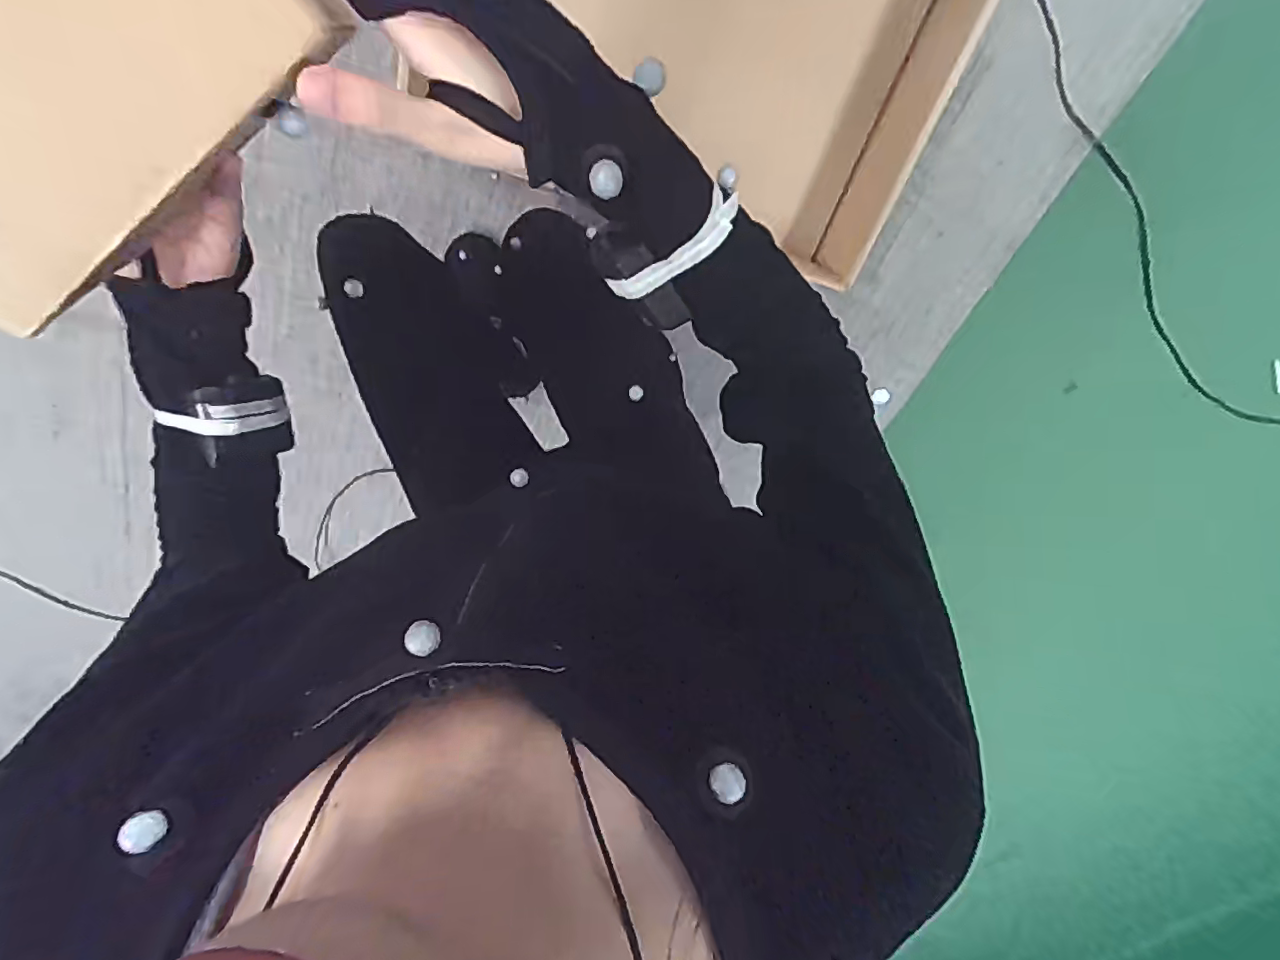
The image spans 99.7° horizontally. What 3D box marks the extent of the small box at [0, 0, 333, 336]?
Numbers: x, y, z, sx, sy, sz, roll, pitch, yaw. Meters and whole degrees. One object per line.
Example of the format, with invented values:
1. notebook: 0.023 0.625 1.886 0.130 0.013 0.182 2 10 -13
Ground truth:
1. small box: -0.253 -0.199 0.215 0.179 0.176 0.168 -37 133 10
